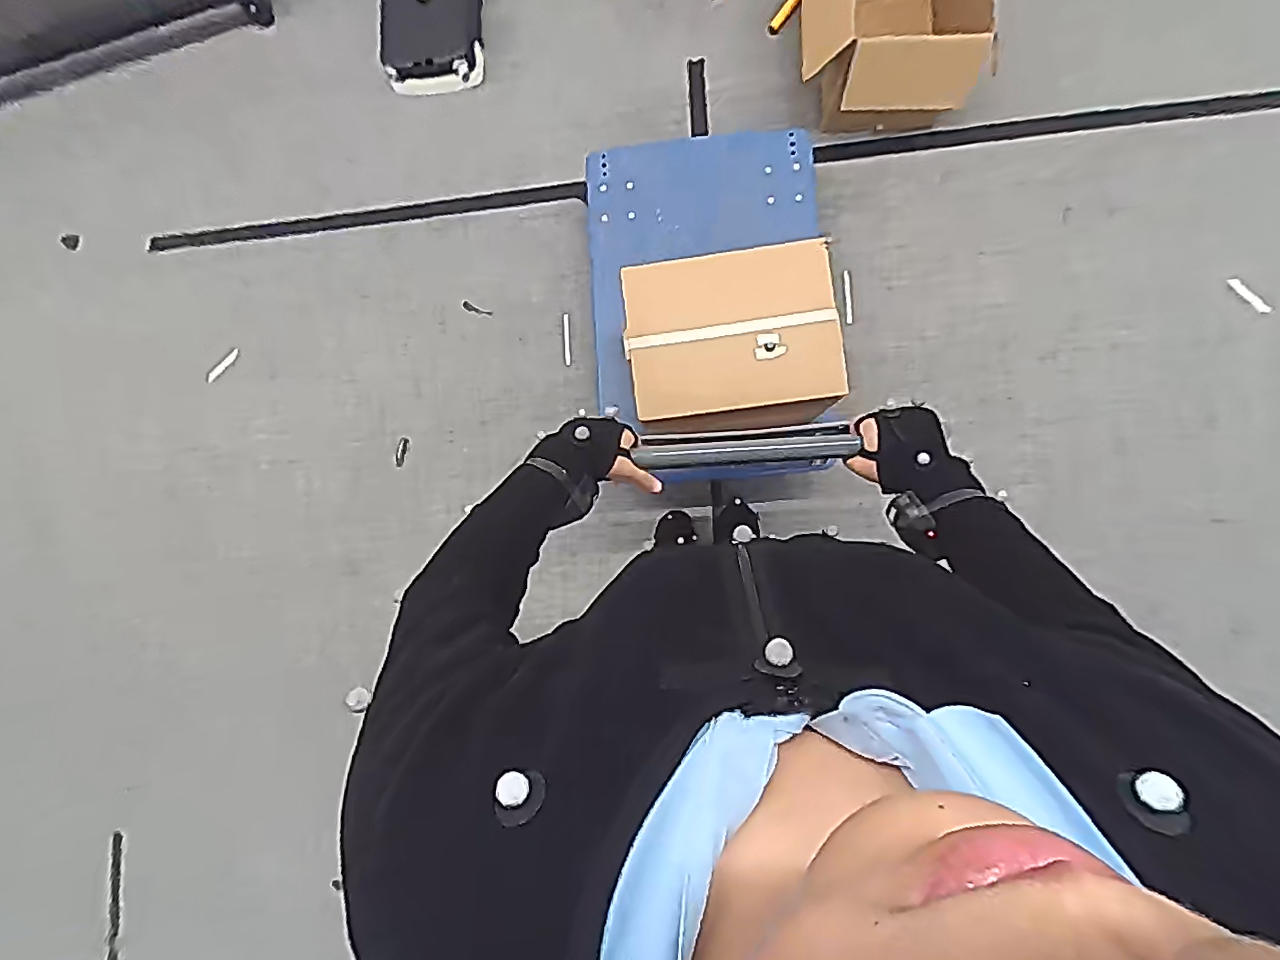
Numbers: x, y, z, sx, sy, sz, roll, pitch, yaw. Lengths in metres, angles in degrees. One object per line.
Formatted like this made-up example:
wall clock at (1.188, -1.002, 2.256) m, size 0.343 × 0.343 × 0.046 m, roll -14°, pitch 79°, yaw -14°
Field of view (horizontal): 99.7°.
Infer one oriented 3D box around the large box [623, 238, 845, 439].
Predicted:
large box at (0.189, -0.287, 1.209) m, size 0.408 × 0.320 × 0.320 m, roll -7°, pitch 87°, yaw 3°
